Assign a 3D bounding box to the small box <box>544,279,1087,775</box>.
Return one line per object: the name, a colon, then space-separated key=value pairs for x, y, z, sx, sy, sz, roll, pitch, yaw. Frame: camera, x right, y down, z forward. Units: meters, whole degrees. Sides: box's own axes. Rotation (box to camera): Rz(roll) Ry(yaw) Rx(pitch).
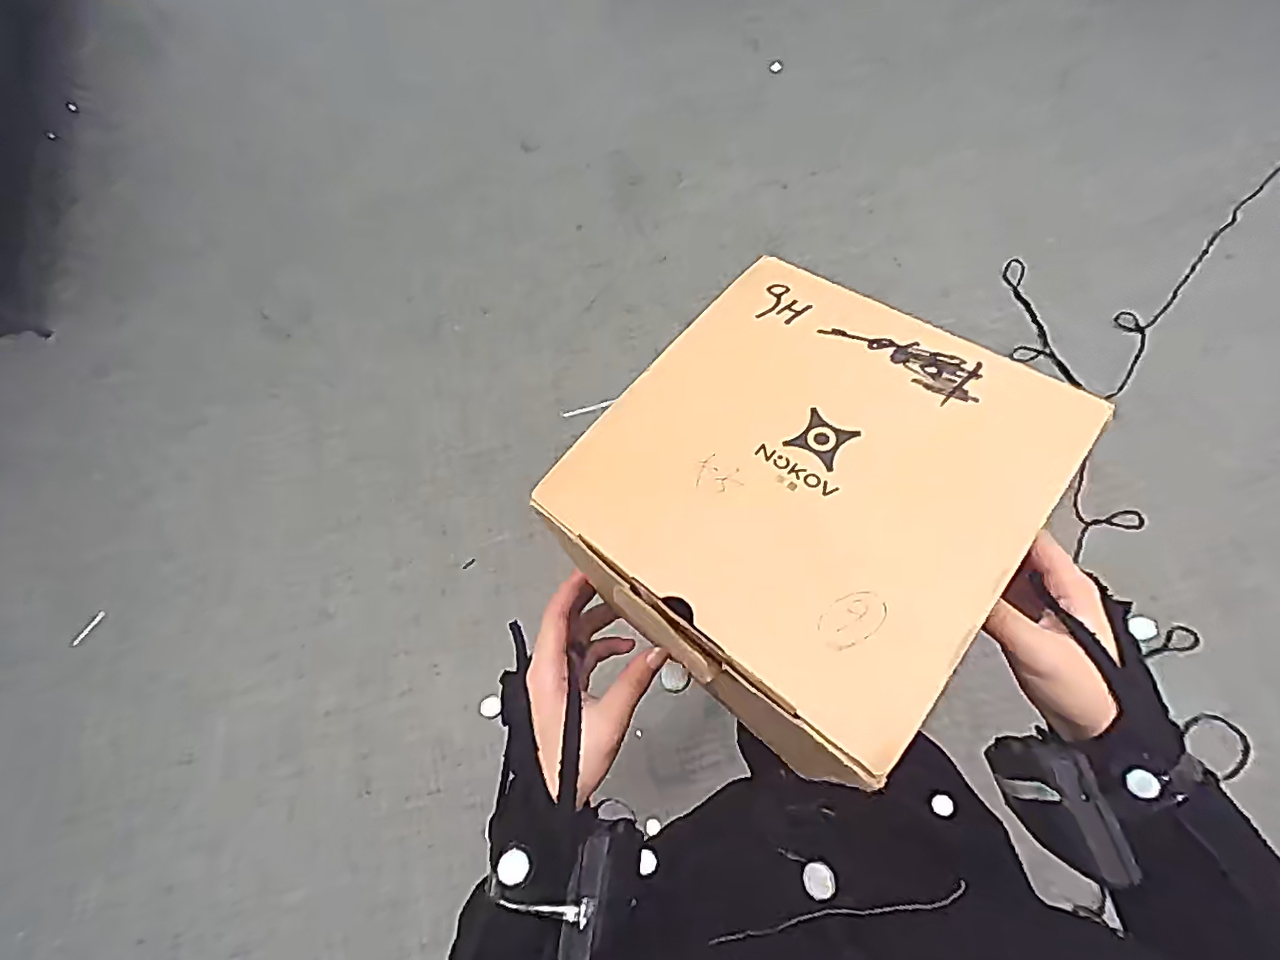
small box: x=0.083 y=0.033 z=0.302 sx=0.168 sy=0.176 sz=0.179 roll=35 pitch=73 yaw=24
